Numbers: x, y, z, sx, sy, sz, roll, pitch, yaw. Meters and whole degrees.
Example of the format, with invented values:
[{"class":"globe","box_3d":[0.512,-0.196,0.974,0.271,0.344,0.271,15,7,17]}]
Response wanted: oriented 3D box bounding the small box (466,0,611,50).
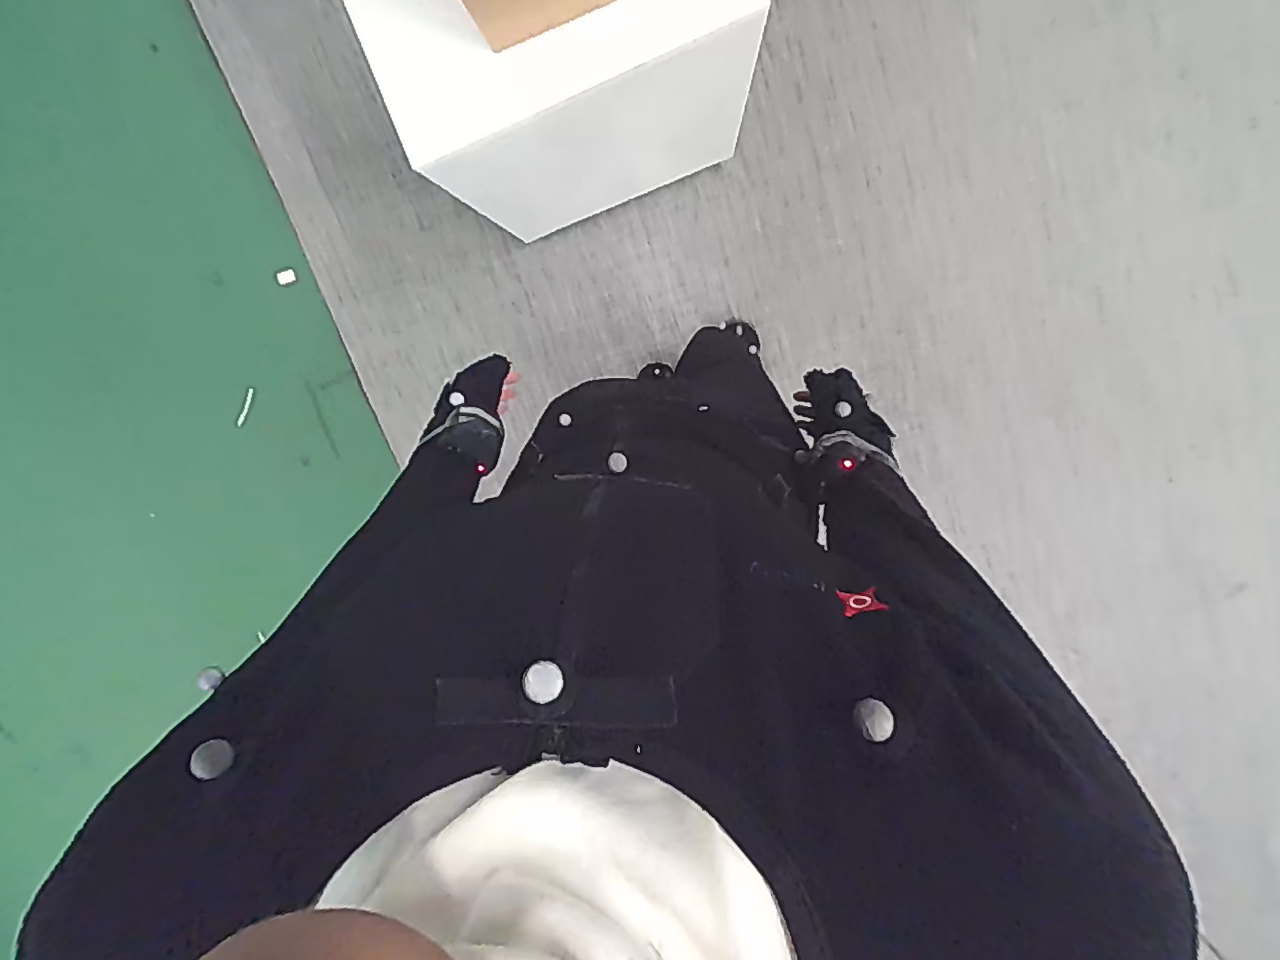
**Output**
[{"class":"small box","box_3d":[-0.137,-0.634,0.602,0.179,0.176,0.168,-17,101,8]}]
